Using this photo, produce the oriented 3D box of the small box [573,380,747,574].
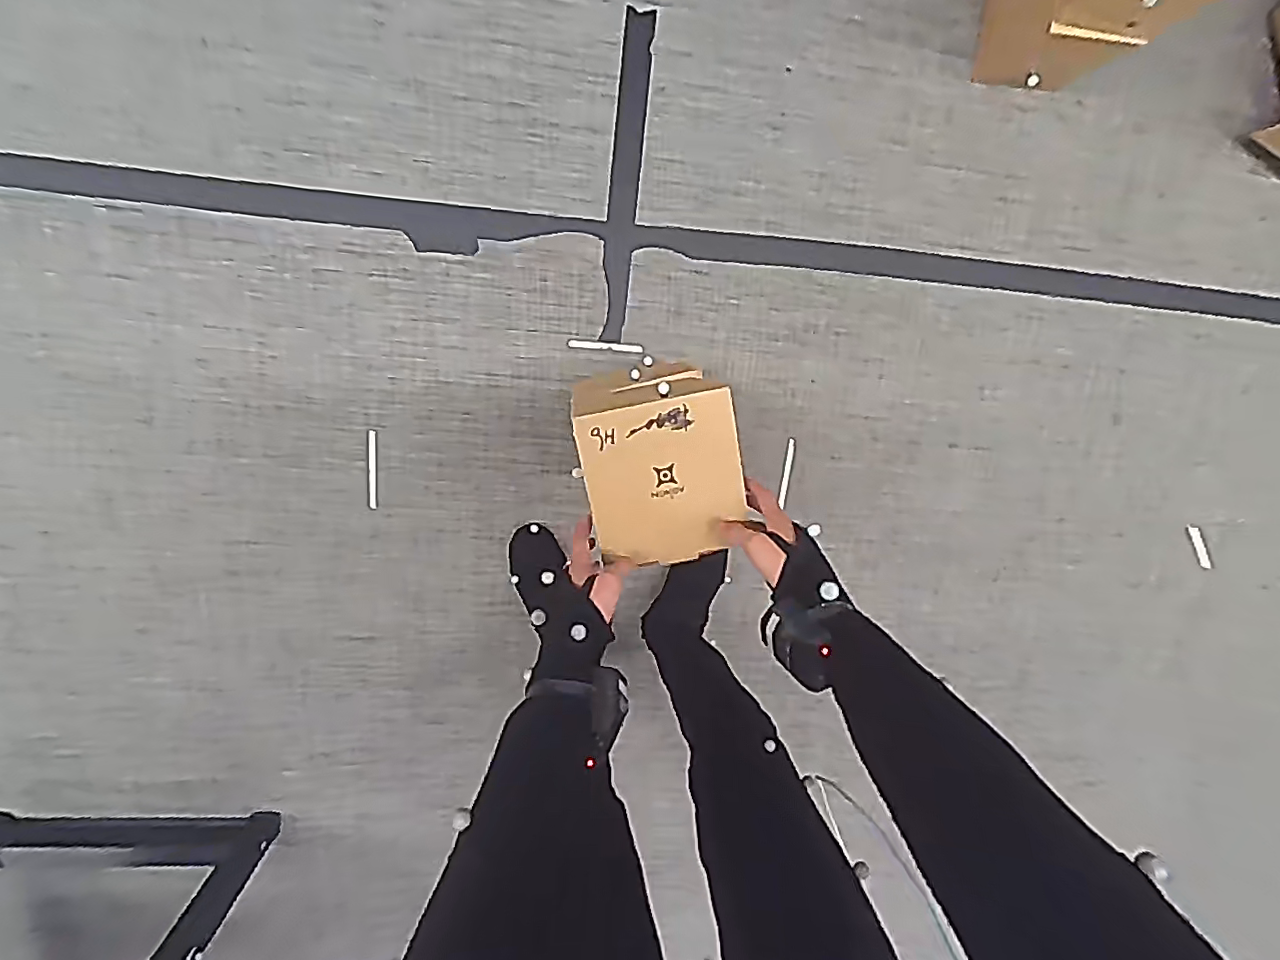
[{"bbox_3d":[0.018,-0.014,0.648,0.168,0.176,0.179,-12,106,-4],"label":"small box"}]
